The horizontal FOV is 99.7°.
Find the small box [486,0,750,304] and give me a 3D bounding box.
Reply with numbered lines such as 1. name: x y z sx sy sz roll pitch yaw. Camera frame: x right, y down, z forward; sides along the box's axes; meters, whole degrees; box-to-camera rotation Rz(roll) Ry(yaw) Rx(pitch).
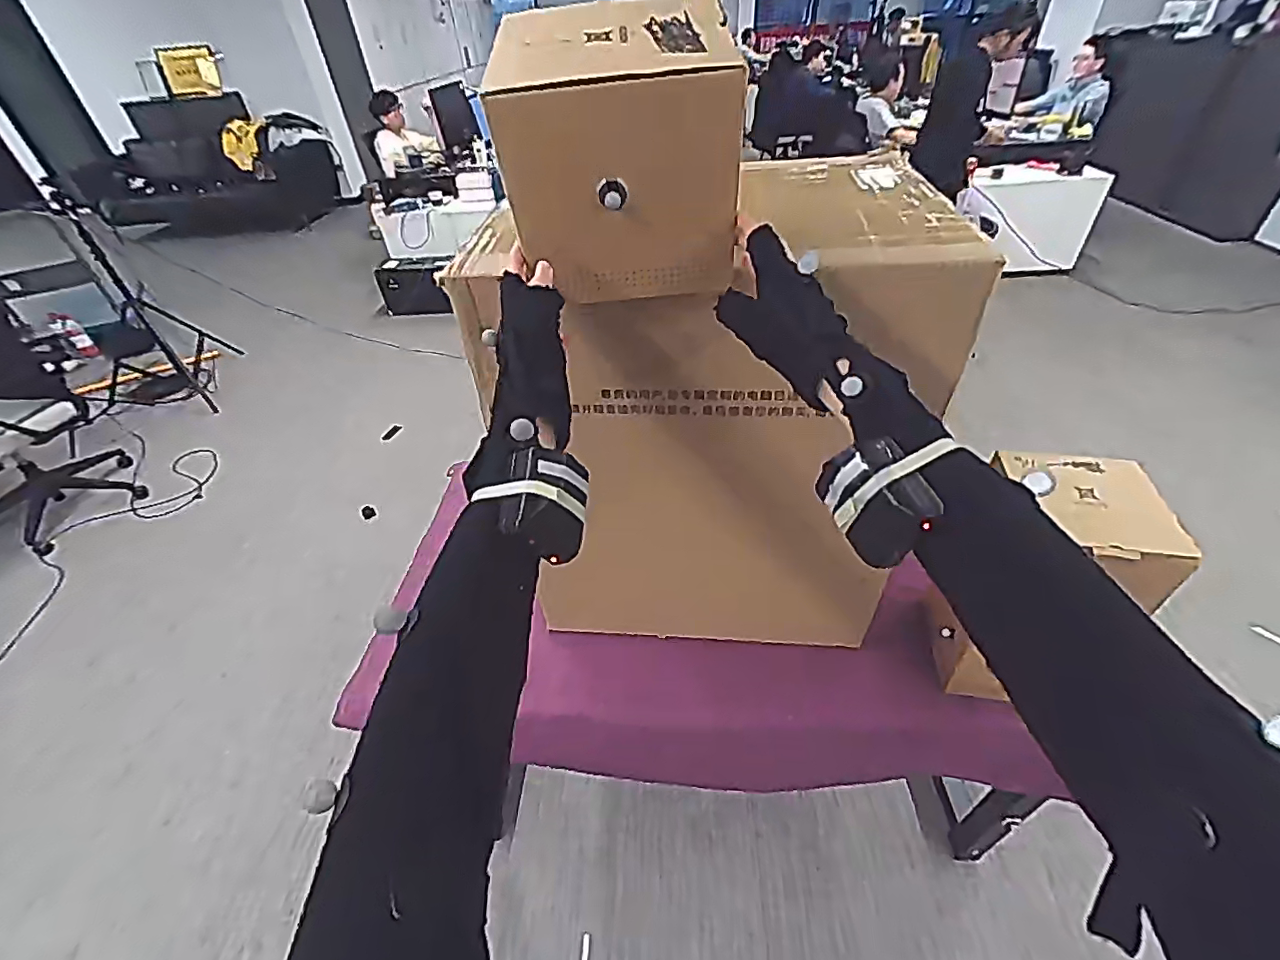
1. small box: -0.011 -0.273 0.461 0.179 0.176 0.168 -5 54 3

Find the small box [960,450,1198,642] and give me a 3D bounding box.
1. small box: 0.545 0.085 0.707 0.168 0.176 0.179 8 42 13

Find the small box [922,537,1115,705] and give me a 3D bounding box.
1. small box: 0.546 0.212 0.813 0.168 0.176 0.179 5 40 10
